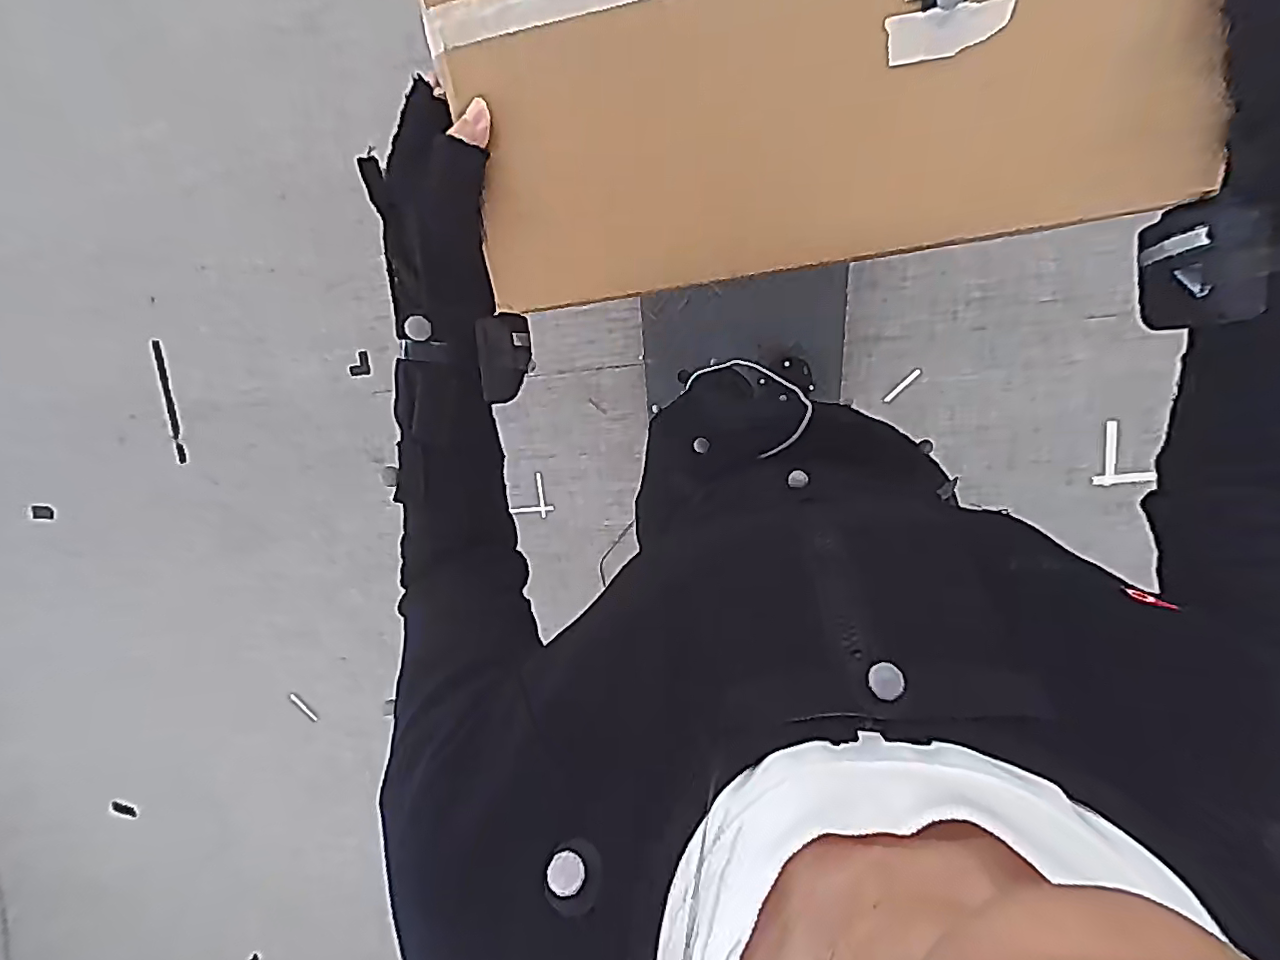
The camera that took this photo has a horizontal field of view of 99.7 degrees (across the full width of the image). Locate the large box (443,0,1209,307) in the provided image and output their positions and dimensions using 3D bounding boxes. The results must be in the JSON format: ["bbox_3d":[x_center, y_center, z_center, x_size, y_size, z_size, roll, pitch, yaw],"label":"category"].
[{"bbox_3d":[0.098,-0.334,0.424,0.408,0.320,0.320,-7,110,10],"label":"large box"}]

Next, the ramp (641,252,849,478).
[{"bbox_3d":[0.243,-0.468,1.294,0.509,0.206,0.991,-2,103,11],"label":"ramp"}]
